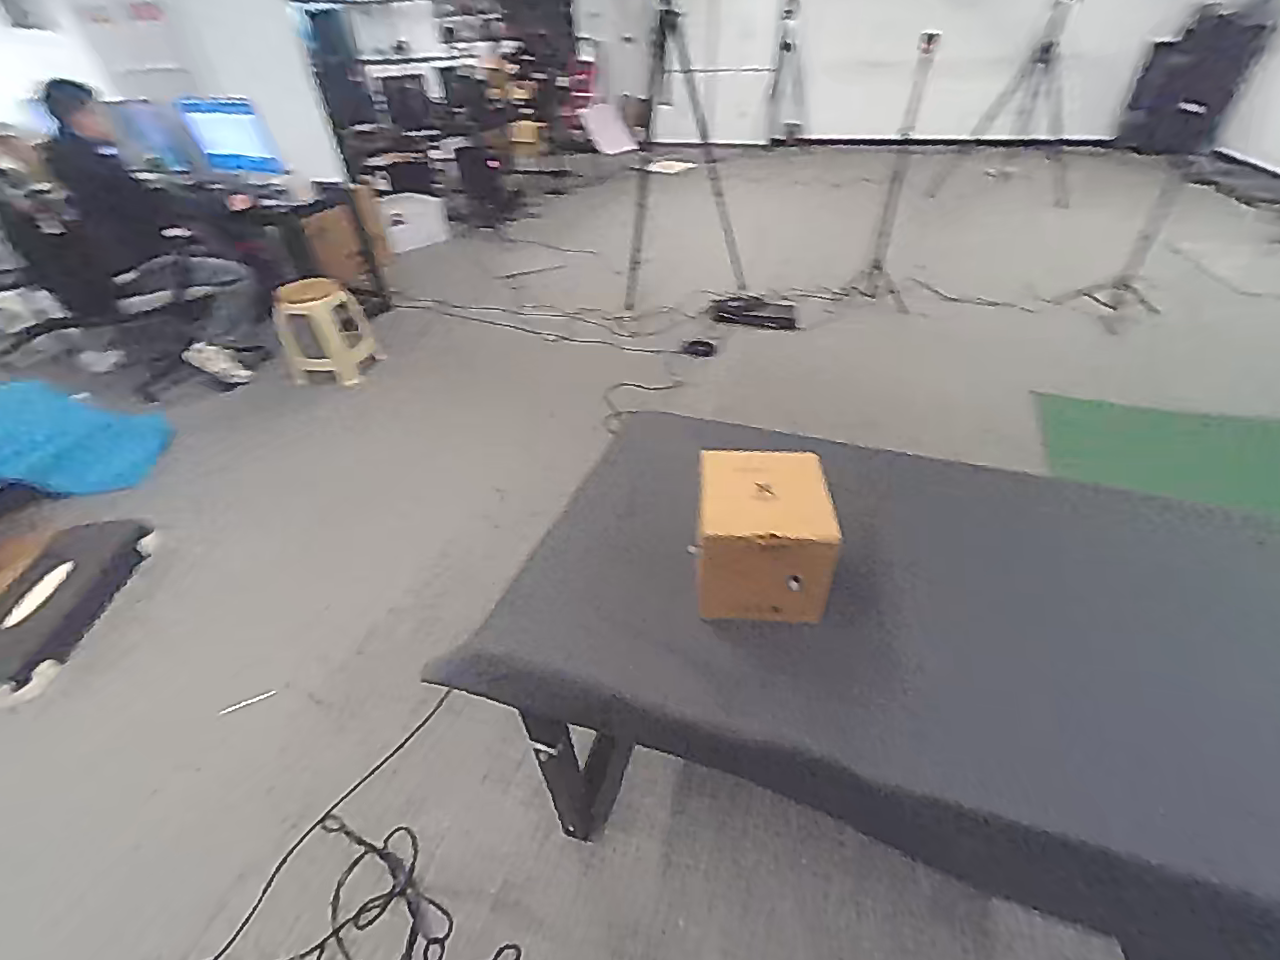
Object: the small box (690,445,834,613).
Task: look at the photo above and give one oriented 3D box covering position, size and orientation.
[{"bbox_3d":[0.157,0.068,0.758,0.168,0.176,0.179,2,38,3],"label":"small box"}]
